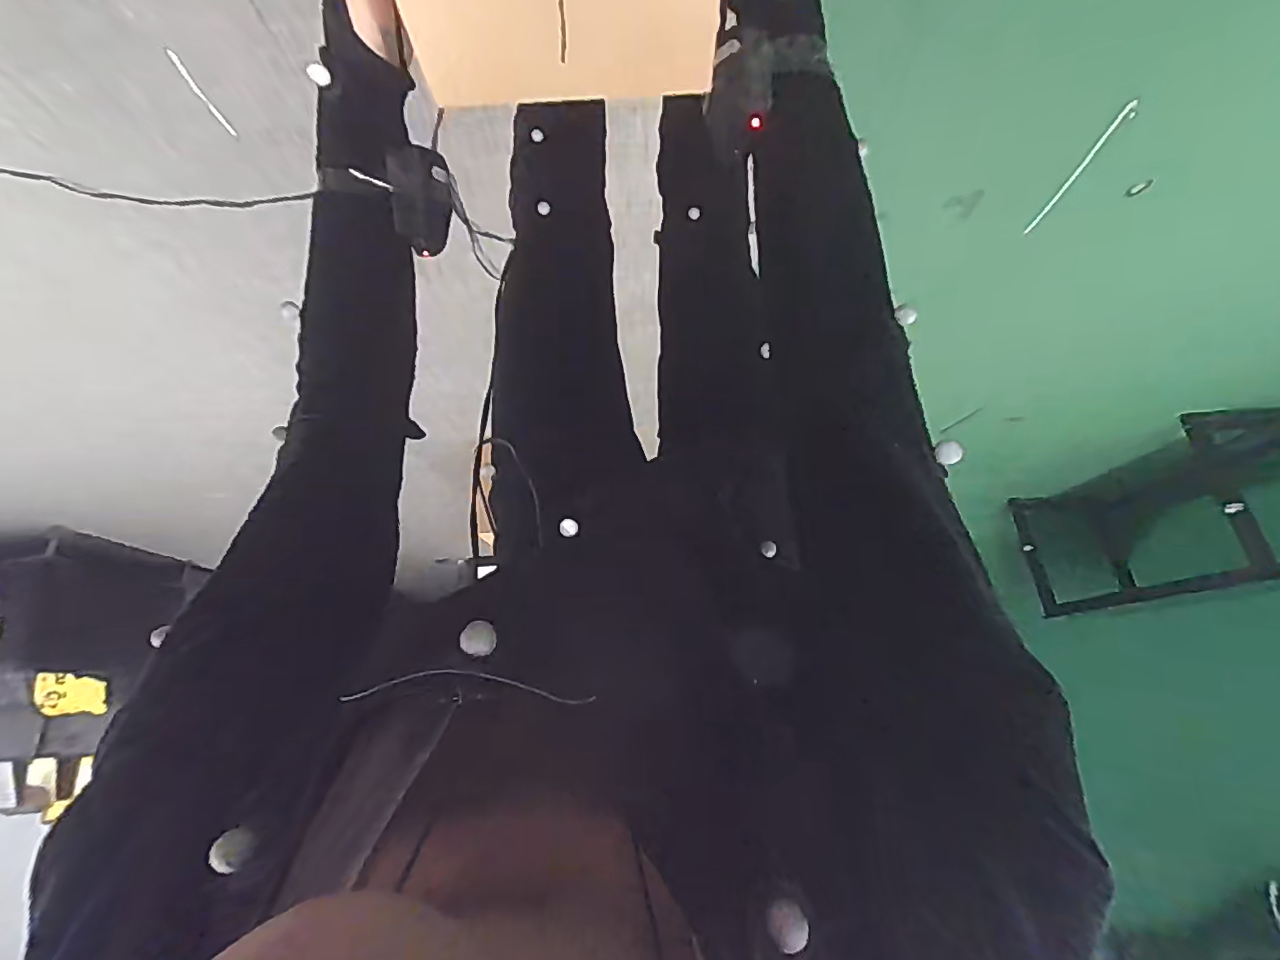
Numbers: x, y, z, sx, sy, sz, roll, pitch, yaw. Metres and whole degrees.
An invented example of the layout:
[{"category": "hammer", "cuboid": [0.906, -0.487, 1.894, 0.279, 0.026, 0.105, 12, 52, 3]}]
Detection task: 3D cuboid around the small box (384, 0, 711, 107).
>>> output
[{"category": "small box", "cuboid": [-0.050, -0.329, 0.266, 0.168, 0.176, 0.179, -3, 159, -1]}]
